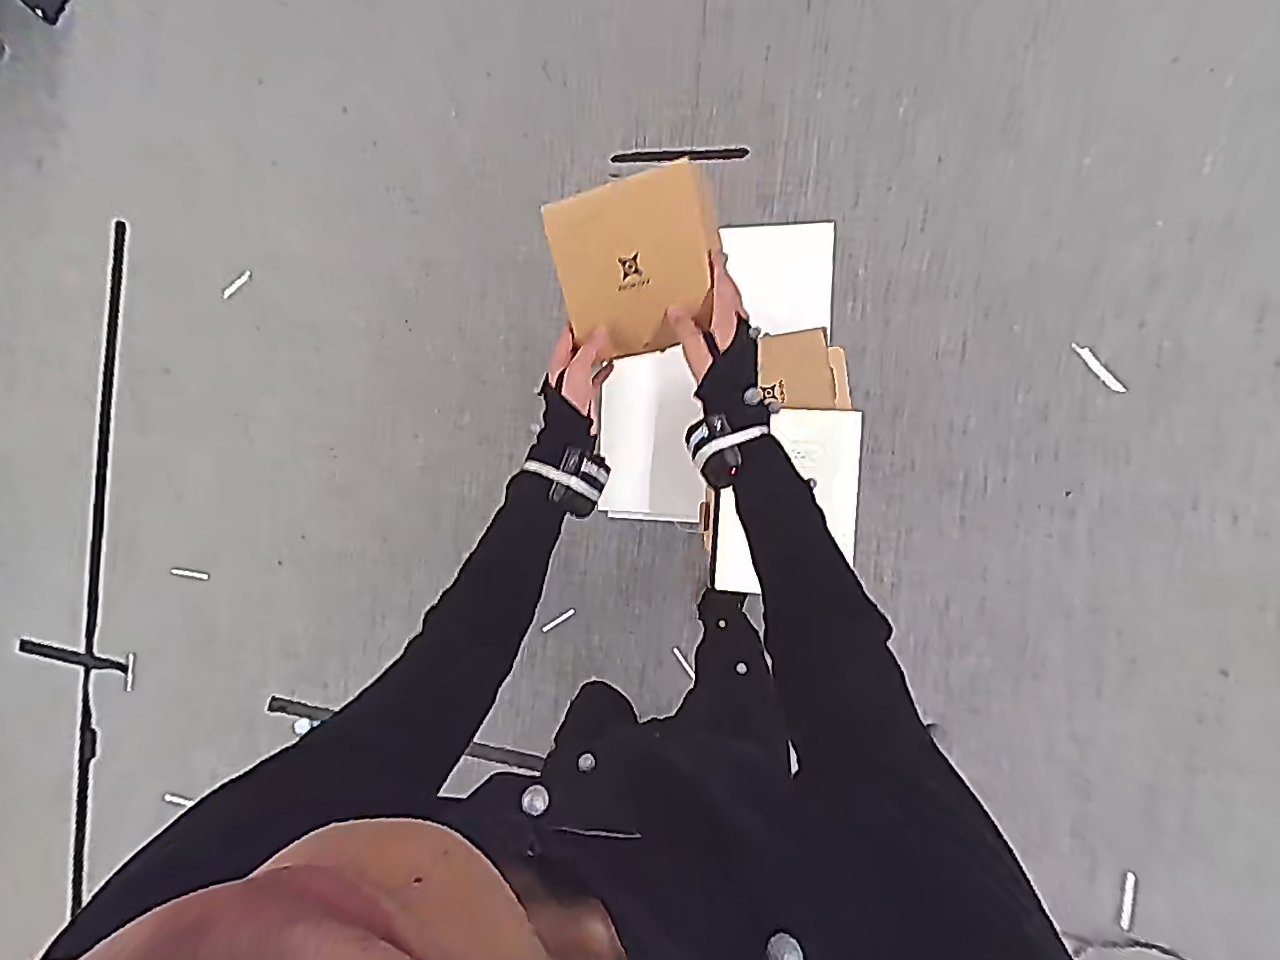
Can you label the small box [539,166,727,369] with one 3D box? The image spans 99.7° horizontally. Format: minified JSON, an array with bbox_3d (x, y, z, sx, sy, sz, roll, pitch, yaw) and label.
[{"bbox_3d":[0.005,-0.246,0.650,0.168,0.176,0.179,-9,109,18],"label":"small box"}]
